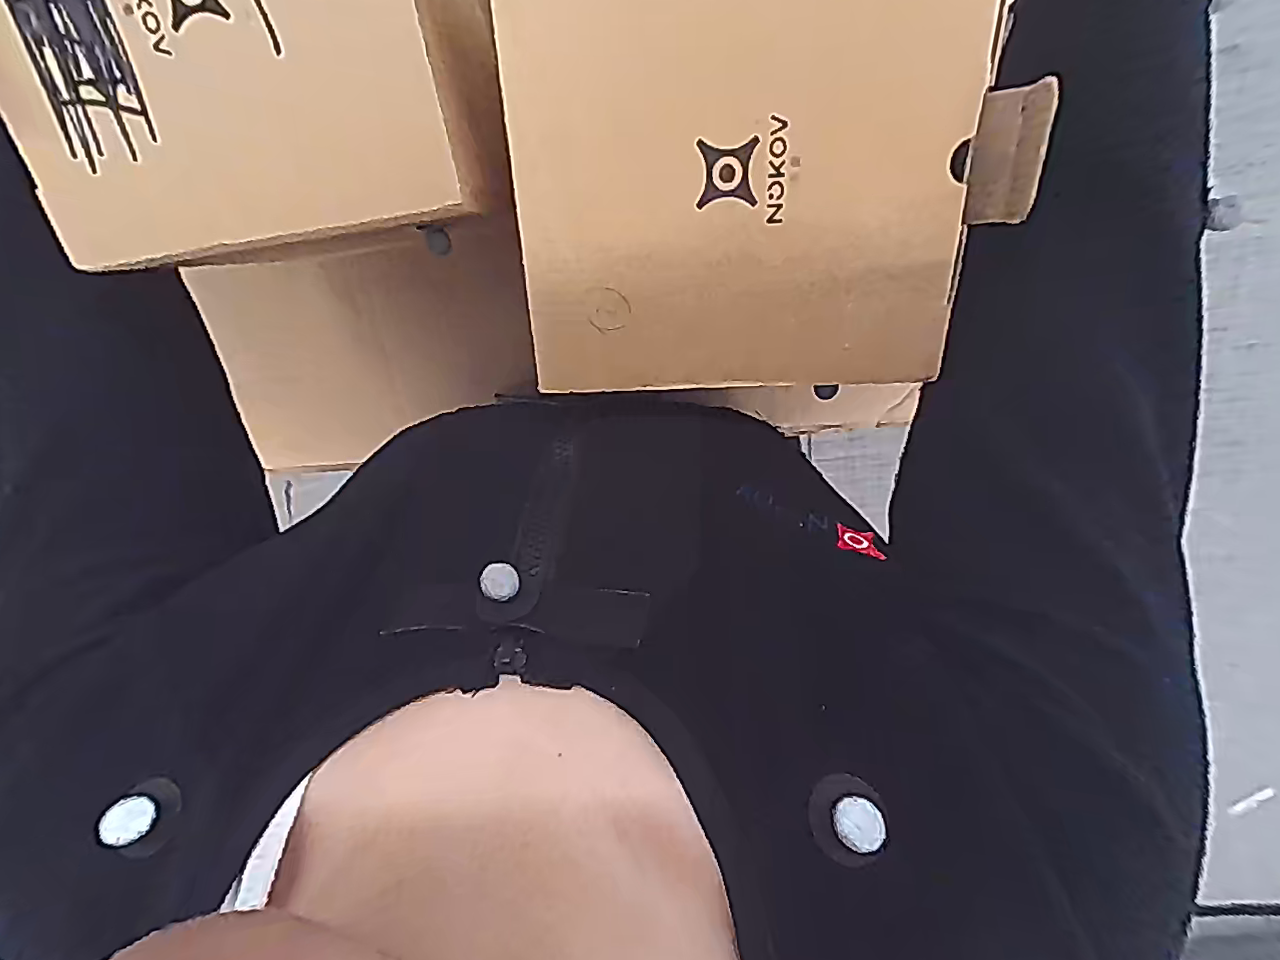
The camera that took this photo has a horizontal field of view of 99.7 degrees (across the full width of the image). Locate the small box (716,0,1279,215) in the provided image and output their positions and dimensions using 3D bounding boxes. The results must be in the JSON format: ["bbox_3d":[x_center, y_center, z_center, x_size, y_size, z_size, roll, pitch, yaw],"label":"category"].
[{"bbox_3d":[0.137,-0.221,0.225,0.179,0.176,0.168,11,121,-3],"label":"small box"}]
